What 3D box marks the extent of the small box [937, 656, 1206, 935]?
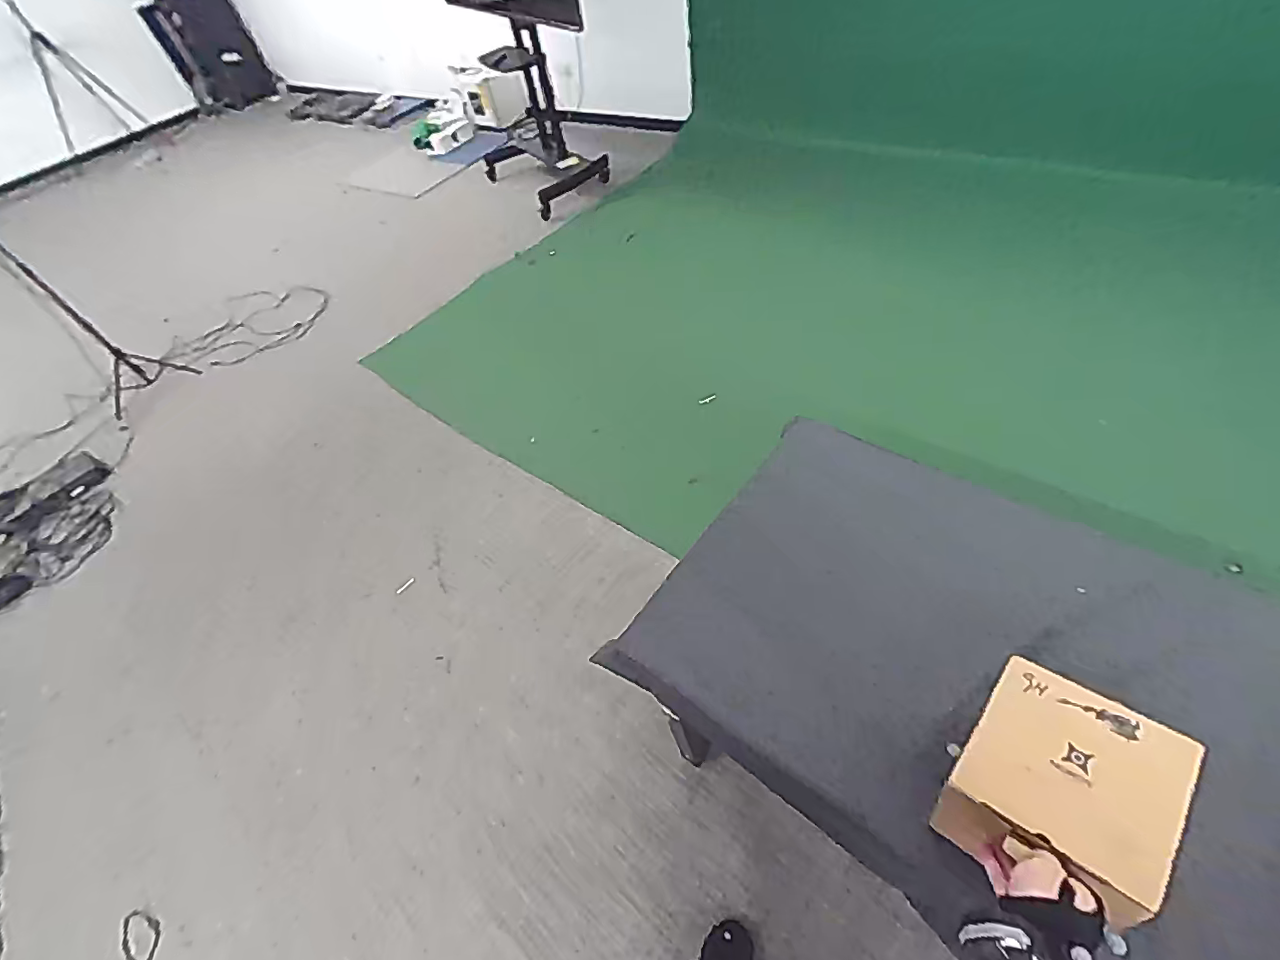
[{"bbox_3d":[0.440,0.336,0.579,0.168,0.176,0.179,27,59,38],"label":"small box"}]
